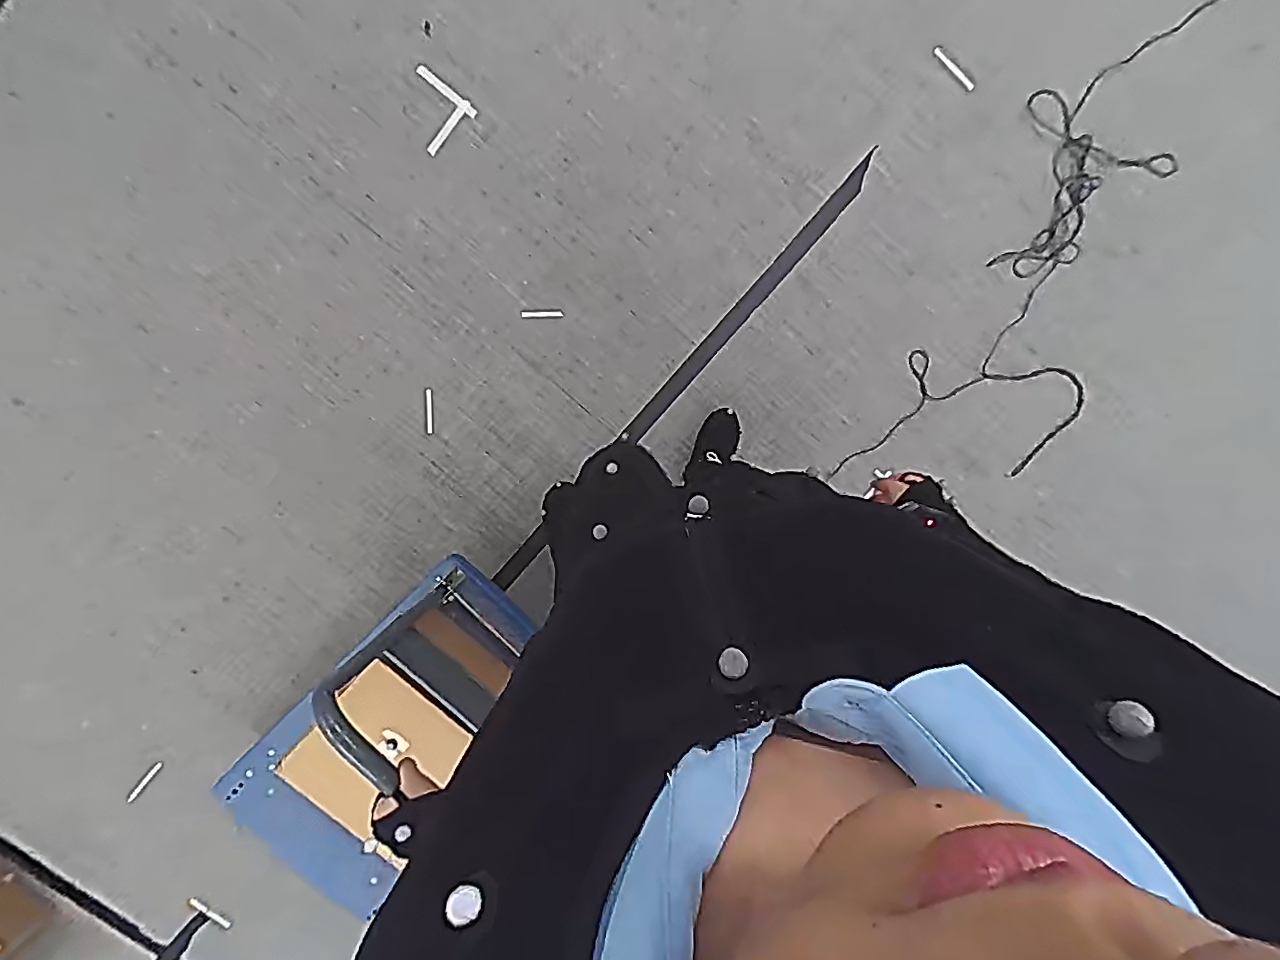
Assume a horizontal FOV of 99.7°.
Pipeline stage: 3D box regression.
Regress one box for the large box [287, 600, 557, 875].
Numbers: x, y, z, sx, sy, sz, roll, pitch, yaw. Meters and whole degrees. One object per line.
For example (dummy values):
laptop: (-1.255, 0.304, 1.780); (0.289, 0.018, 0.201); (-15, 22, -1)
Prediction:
large box: (-0.452, 0.549, 1.219); (0.408, 0.320, 0.320); (42, 93, -4)
